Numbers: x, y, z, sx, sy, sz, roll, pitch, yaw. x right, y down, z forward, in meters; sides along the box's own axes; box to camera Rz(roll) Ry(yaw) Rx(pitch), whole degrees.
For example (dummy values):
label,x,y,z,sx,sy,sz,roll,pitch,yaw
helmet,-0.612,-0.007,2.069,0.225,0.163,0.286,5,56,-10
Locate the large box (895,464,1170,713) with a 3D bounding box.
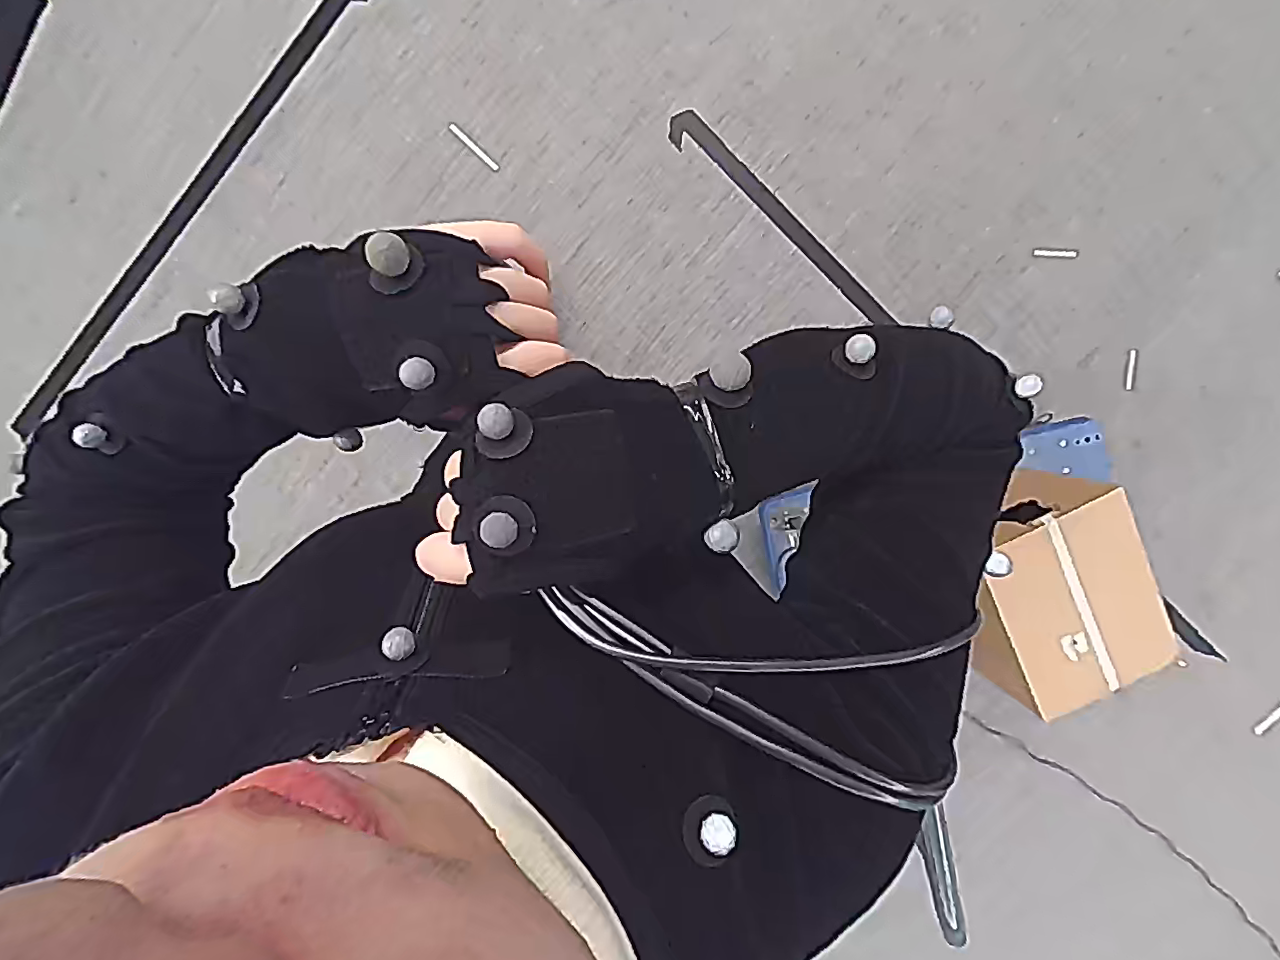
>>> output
label,x,y,z,sx,sy,sz,roll,pitch,yaw
large box,0.862,0.221,1.231,0.320,0.320,0.408,-26,100,2
